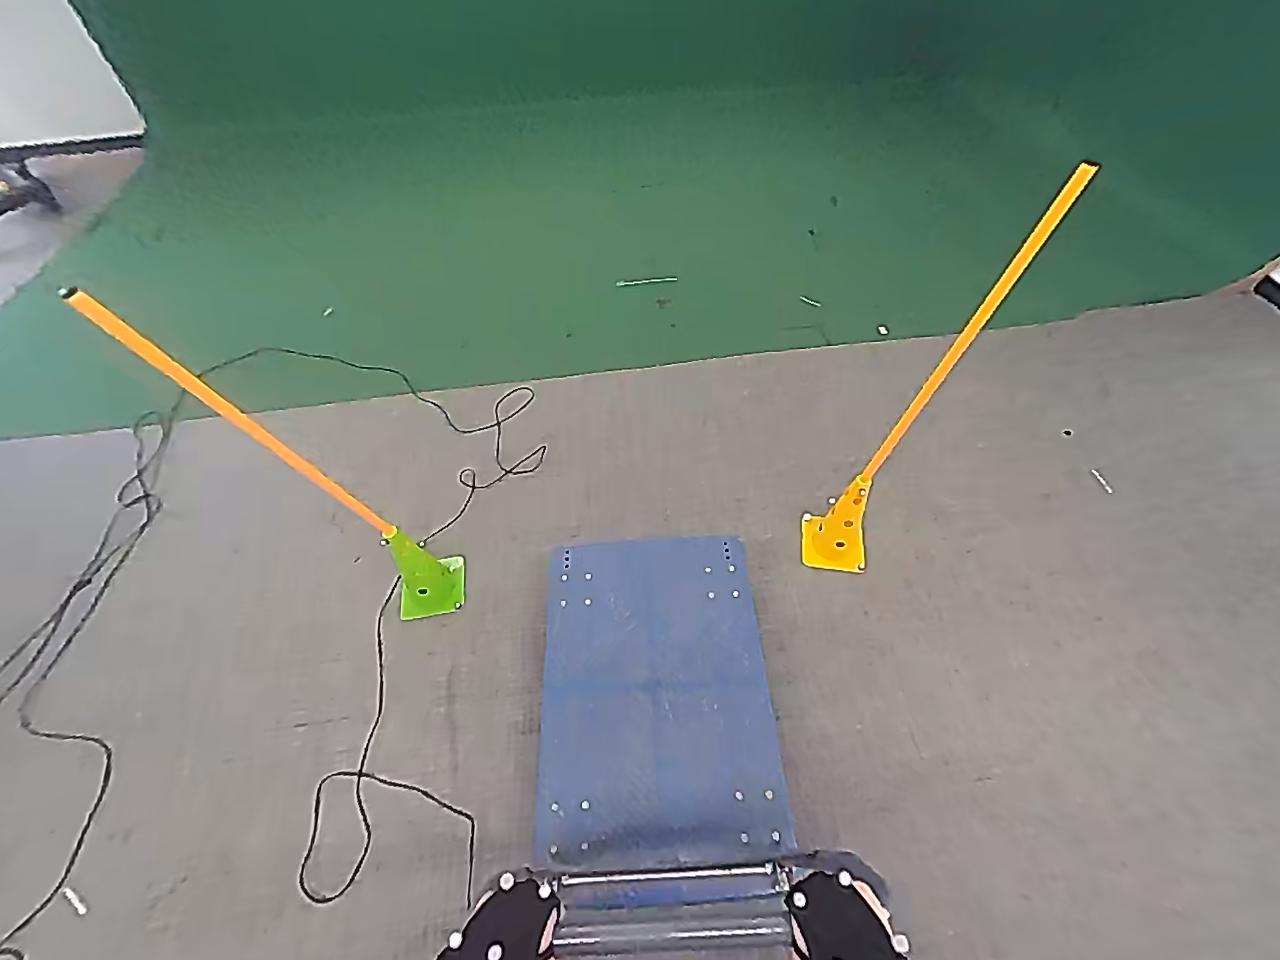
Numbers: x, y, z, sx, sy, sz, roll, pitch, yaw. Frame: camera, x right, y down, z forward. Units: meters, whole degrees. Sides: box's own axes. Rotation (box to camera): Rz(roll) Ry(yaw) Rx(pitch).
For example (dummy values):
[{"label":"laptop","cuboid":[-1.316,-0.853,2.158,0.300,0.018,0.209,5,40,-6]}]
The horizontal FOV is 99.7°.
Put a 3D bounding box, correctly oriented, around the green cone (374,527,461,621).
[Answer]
[{"label":"green cone","cuboid":[-0.693,0.246,1.617,0.202,0.368,0.200,-11,53,-4]}]
